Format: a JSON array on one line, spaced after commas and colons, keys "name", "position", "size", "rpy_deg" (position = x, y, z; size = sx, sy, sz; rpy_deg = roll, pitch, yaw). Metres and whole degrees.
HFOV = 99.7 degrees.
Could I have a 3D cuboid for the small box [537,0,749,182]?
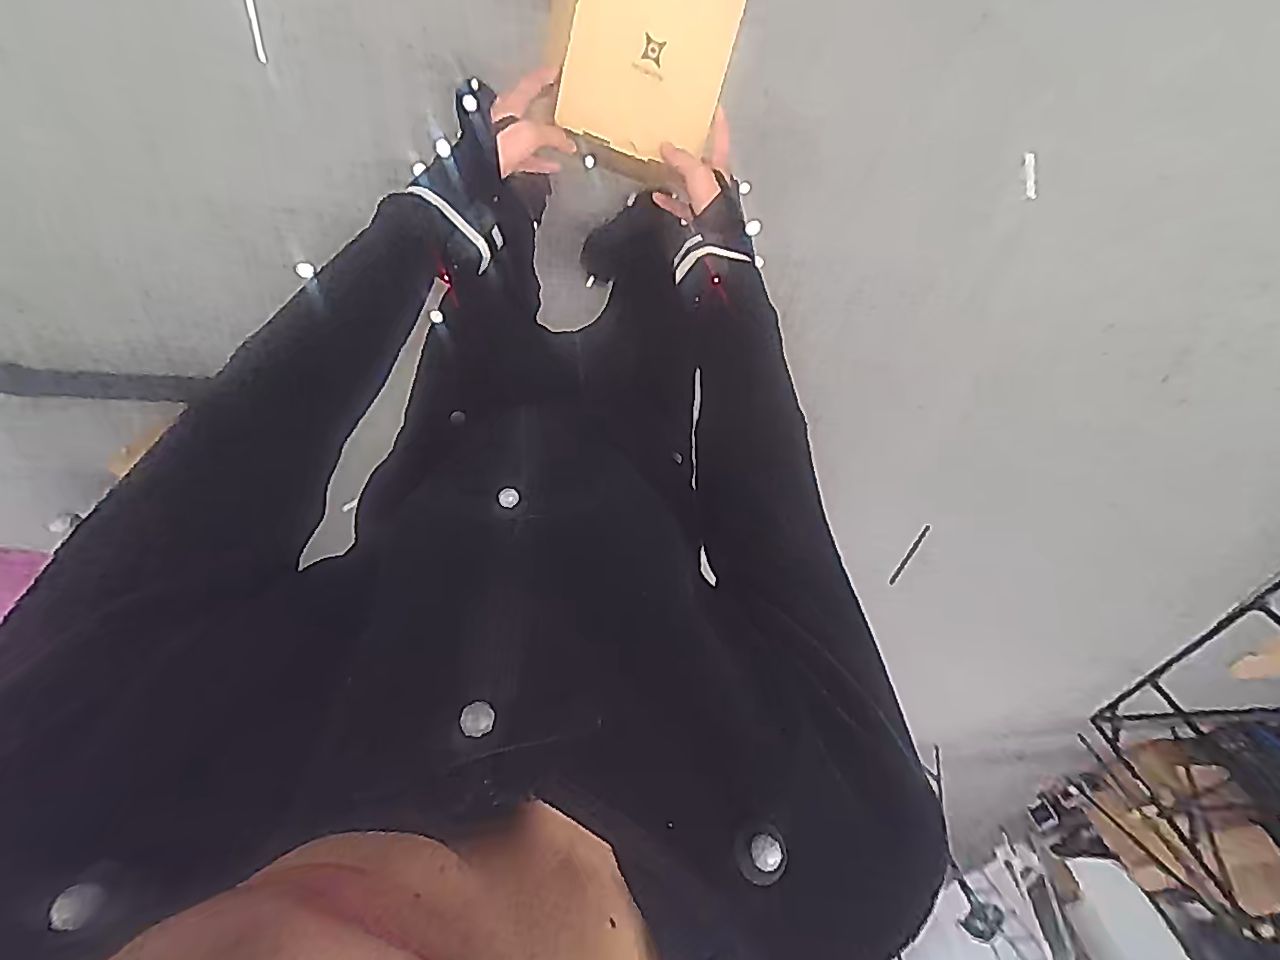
[{"name": "small box", "position": [-0.011, -0.457, 0.610], "size": [0.168, 0.176, 0.179], "rpy_deg": [7, 114, -24]}]
